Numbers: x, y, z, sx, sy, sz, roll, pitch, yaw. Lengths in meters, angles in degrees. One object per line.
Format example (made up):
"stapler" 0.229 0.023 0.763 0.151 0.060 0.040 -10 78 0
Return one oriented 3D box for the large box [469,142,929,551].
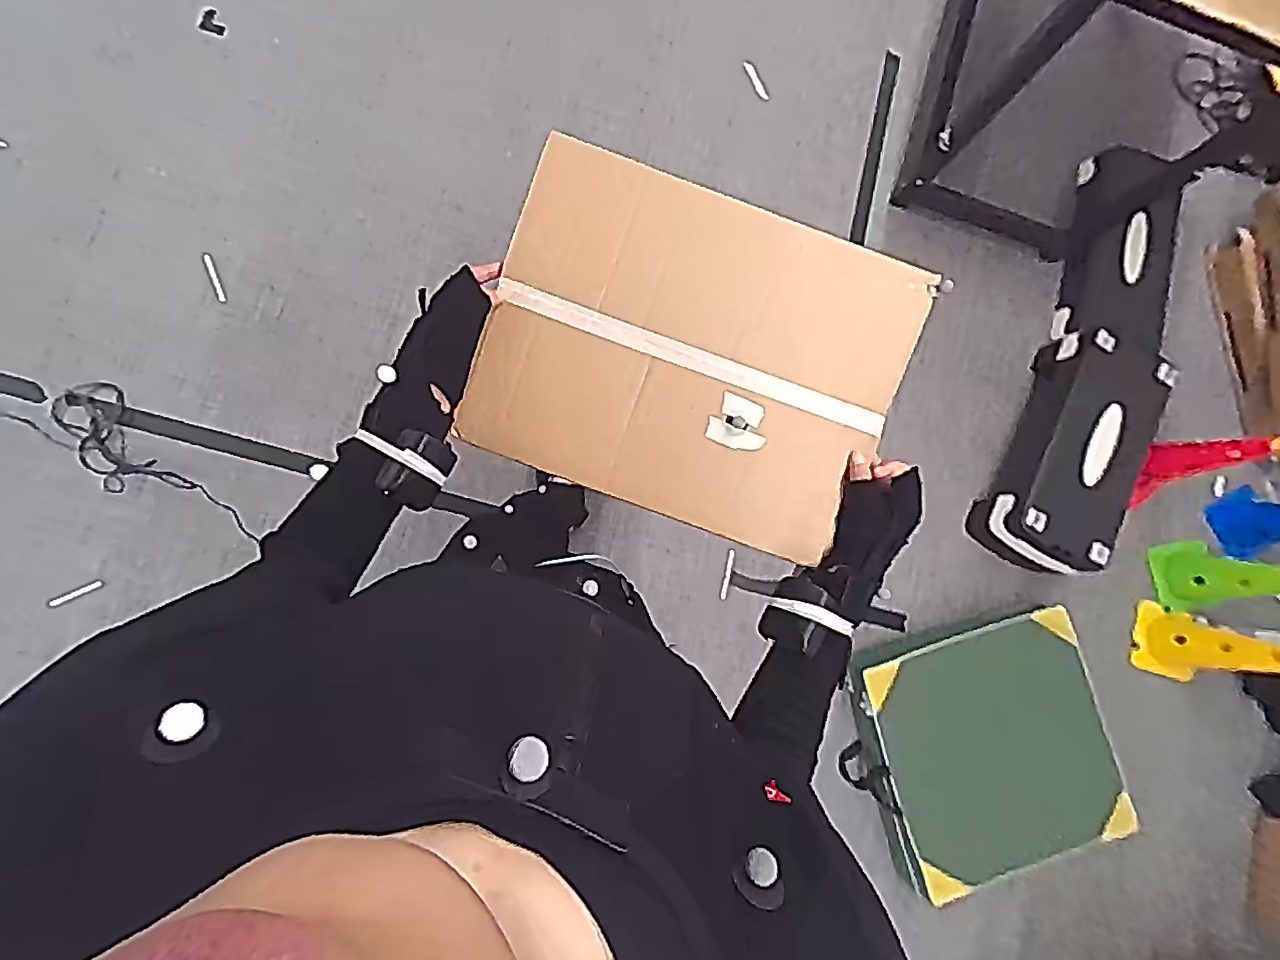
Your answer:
"large box" 0.056 -0.141 0.698 0.408 0.320 0.320 20 95 -2
